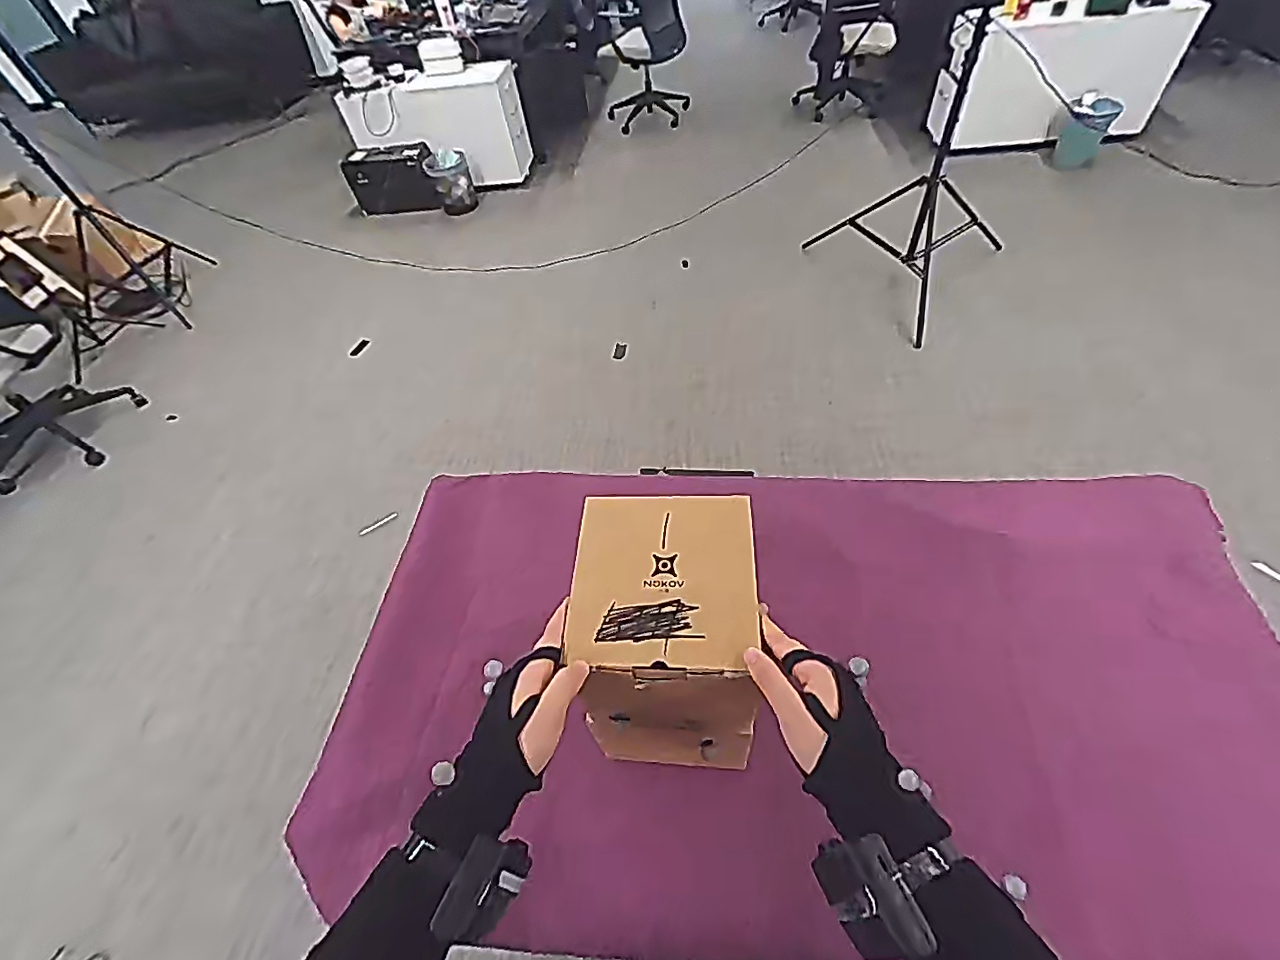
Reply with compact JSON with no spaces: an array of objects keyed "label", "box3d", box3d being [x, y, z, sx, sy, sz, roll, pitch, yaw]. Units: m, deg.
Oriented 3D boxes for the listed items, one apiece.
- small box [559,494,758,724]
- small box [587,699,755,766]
[{"label":"small box","box3d":[0.028,0.134,0.543,0.168,0.176,0.179,-1,51,7]},{"label":"small box","box3d":[0.045,0.242,0.665,0.179,0.176,0.168,0,51,8]}]
